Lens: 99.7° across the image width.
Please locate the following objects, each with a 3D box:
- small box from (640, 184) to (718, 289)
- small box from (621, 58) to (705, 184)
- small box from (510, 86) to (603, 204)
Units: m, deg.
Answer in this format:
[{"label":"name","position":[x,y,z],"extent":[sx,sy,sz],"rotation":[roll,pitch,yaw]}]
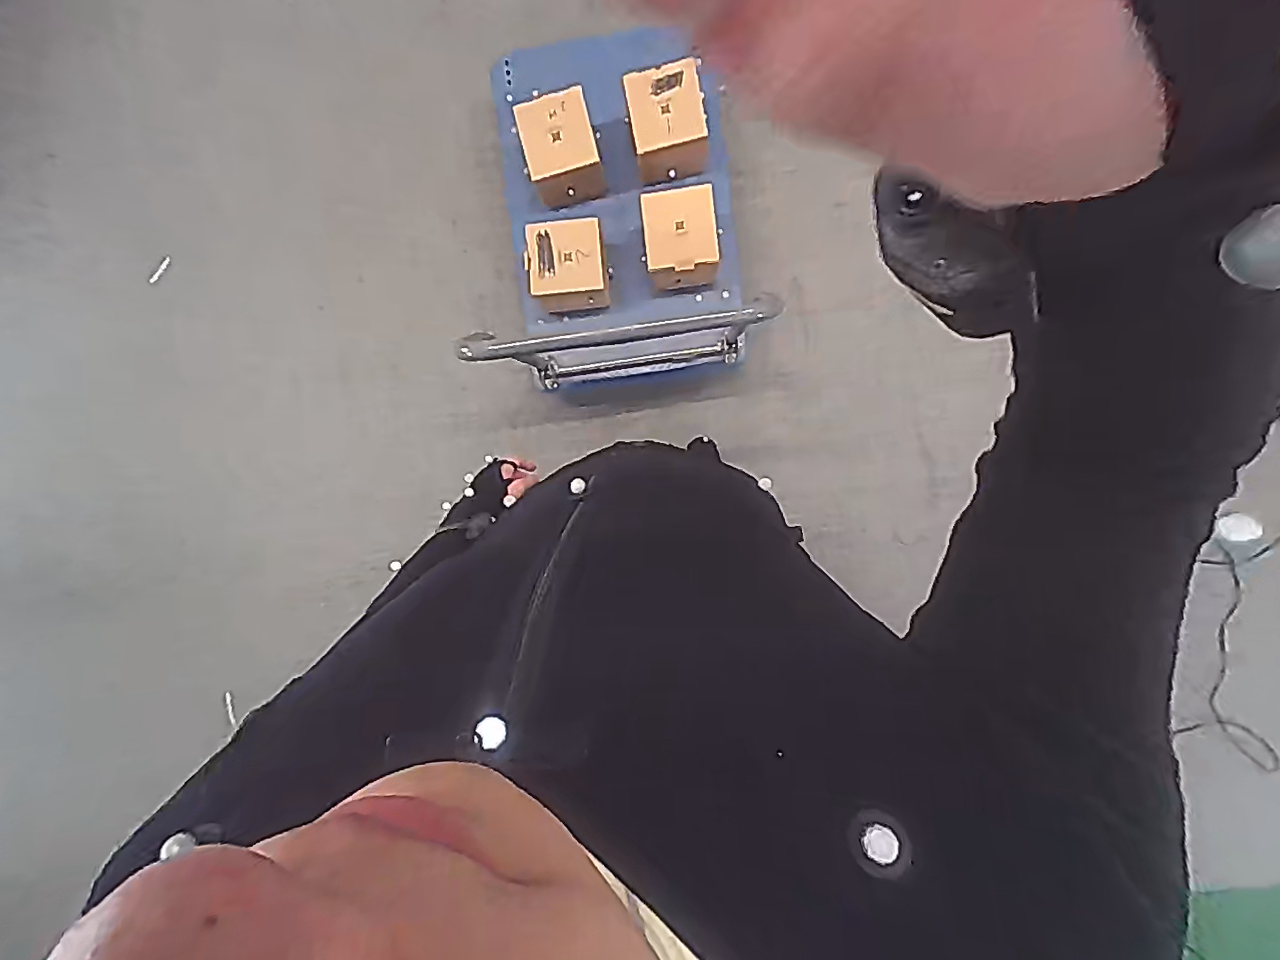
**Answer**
[{"label":"small box","position":[0.092,-0.583,1.314],"extent":[0.168,0.176,0.179],"rotation":[-7,94,4]},{"label":"small box","position":[0.056,-0.849,1.294],"extent":[0.168,0.176,0.179],"rotation":[-11,94,5]},{"label":"small box","position":[-0.194,-0.798,1.314],"extent":[0.168,0.176,0.179],"rotation":[-14,94,4]}]
